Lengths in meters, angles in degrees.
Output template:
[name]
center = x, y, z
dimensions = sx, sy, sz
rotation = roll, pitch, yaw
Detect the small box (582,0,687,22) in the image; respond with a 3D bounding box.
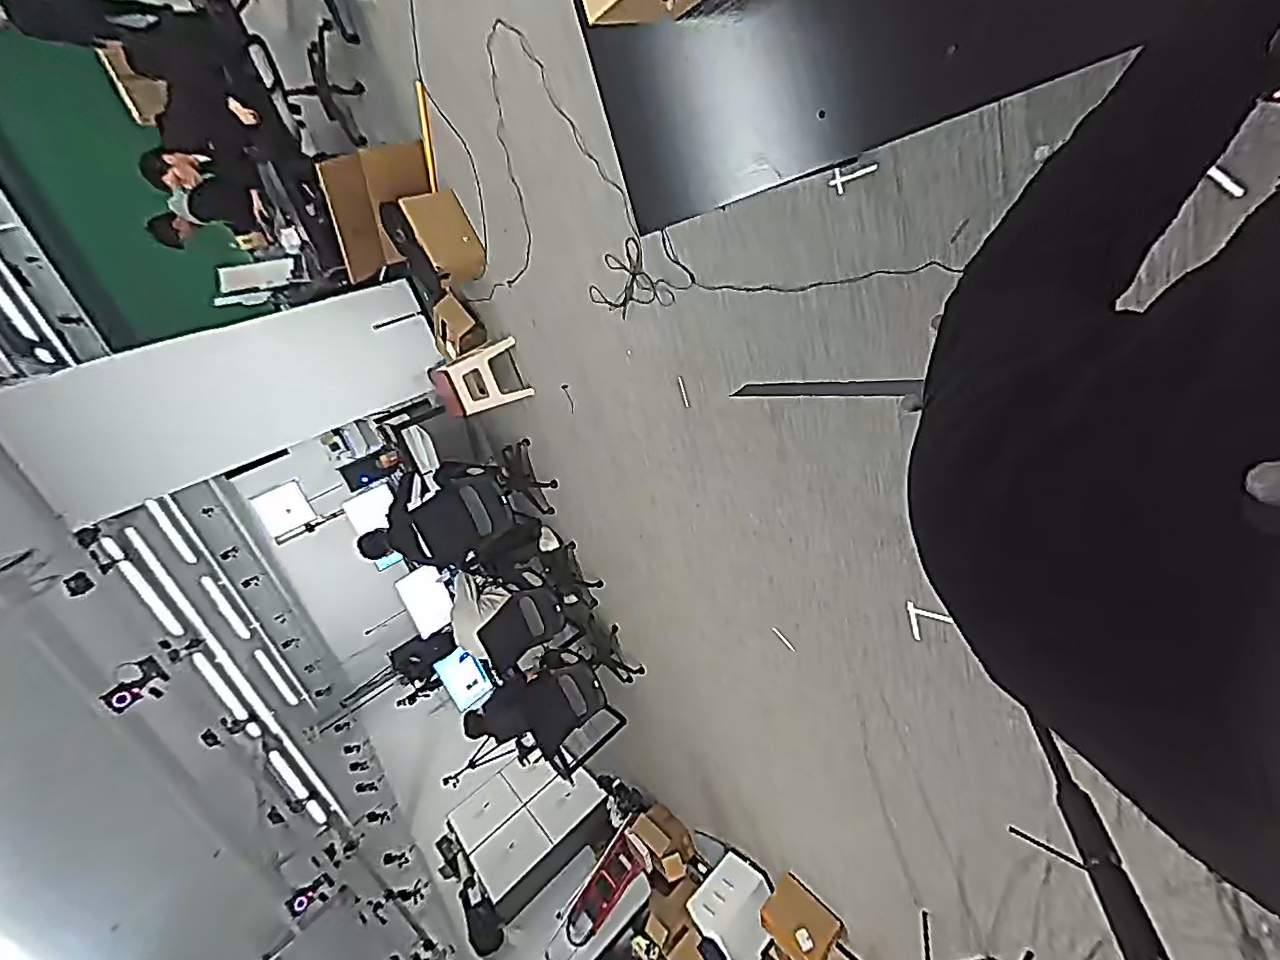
[small box]
center = 0.016, -0.734, 0.694
dimensions = 0.168, 0.176, 0.179
rotation = 14, 128, 49
